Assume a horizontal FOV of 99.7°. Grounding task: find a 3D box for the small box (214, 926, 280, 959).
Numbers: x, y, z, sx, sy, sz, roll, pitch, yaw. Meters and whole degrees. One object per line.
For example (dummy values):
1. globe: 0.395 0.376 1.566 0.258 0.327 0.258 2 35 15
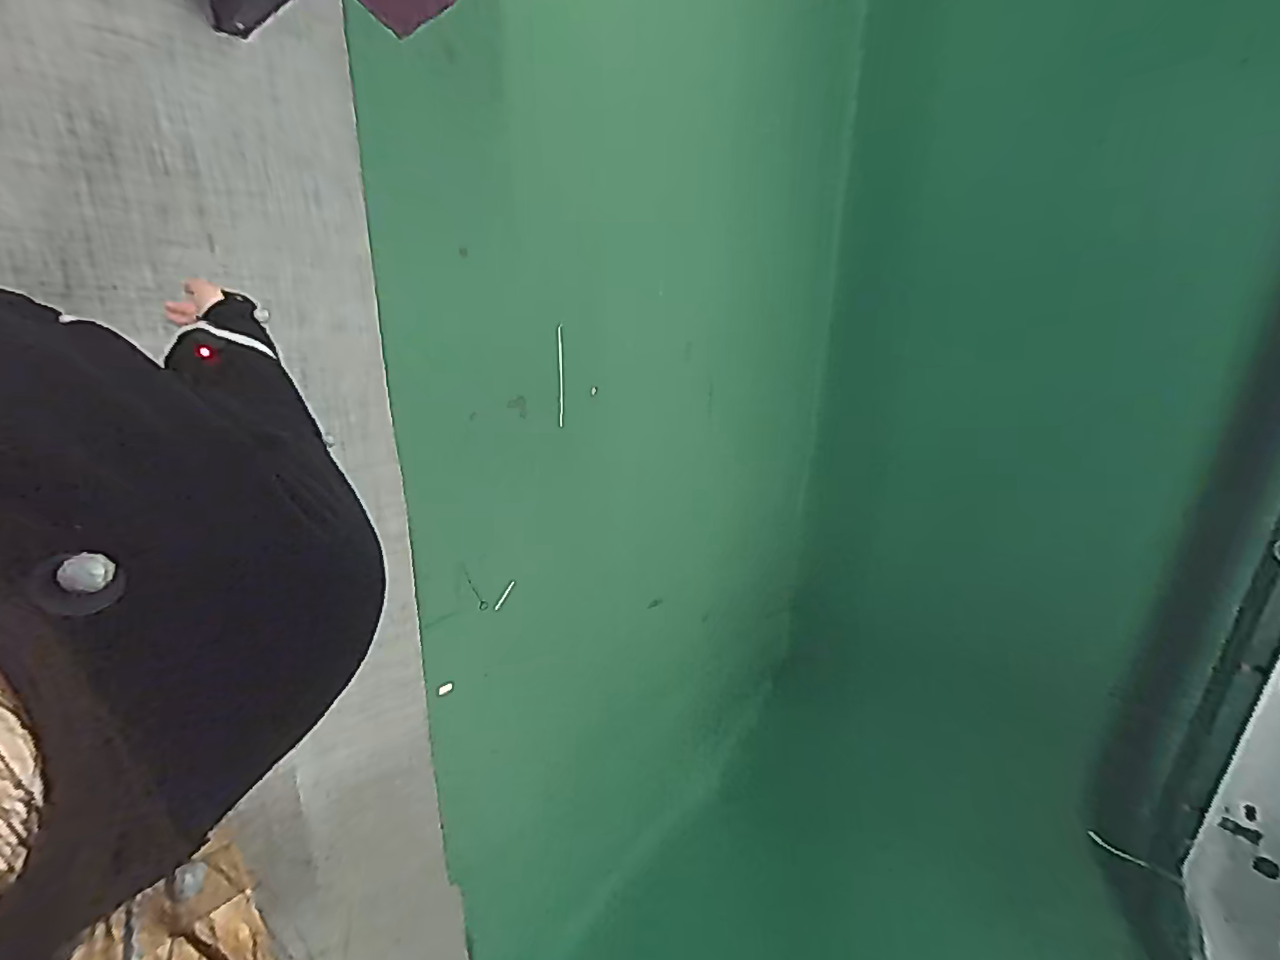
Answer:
1. small box: -0.885 1.159 1.190 0.179 0.176 0.168 -24 124 -46
